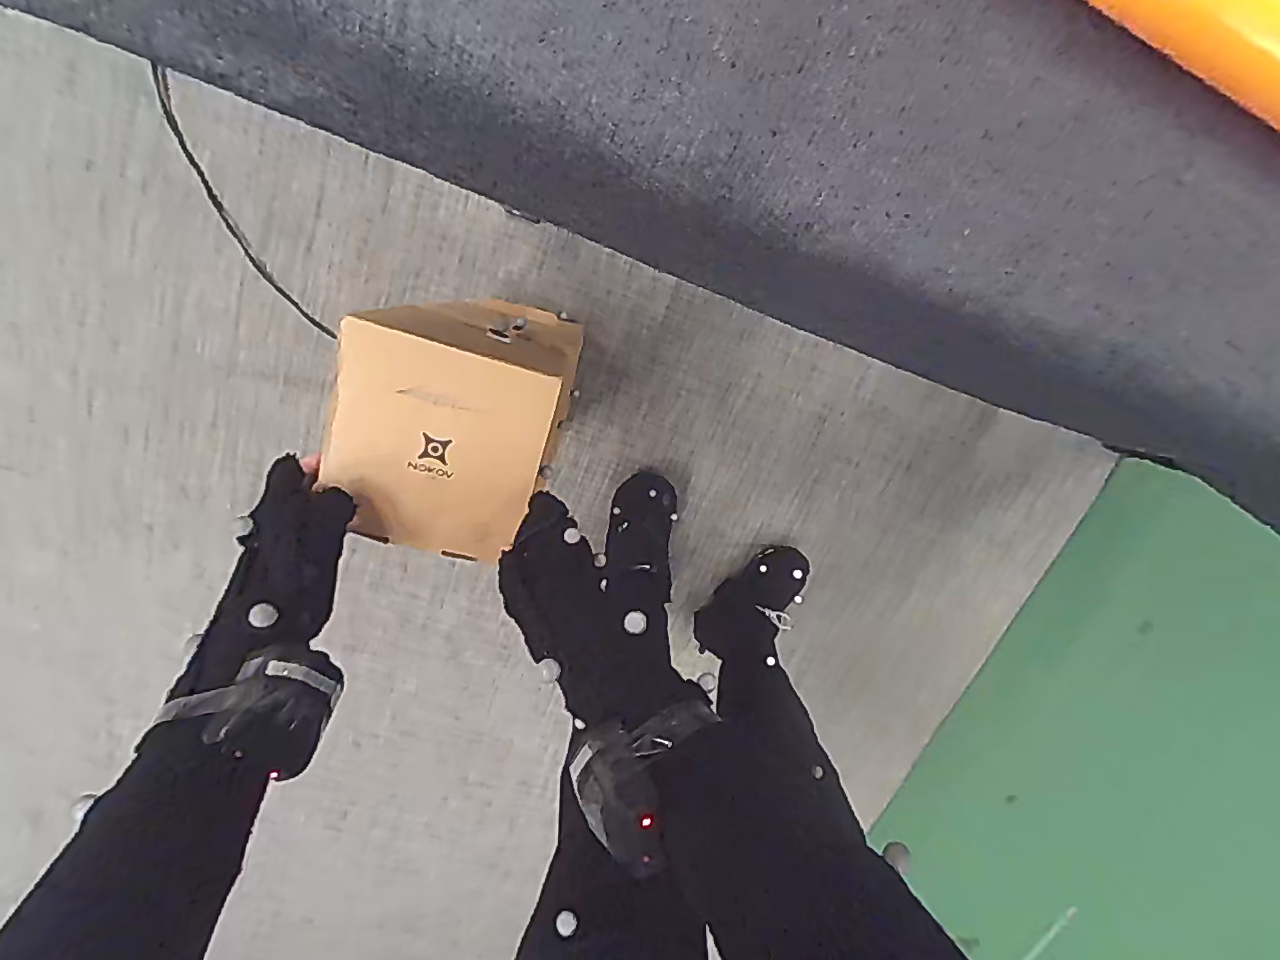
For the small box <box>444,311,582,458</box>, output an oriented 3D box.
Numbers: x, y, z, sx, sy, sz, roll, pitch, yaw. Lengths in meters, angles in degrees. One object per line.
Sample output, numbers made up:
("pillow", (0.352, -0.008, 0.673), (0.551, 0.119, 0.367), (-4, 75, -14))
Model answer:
("small box", (-0.183, -0.152, 0.821), (0.168, 0.176, 0.179), (12, 108, -7))
